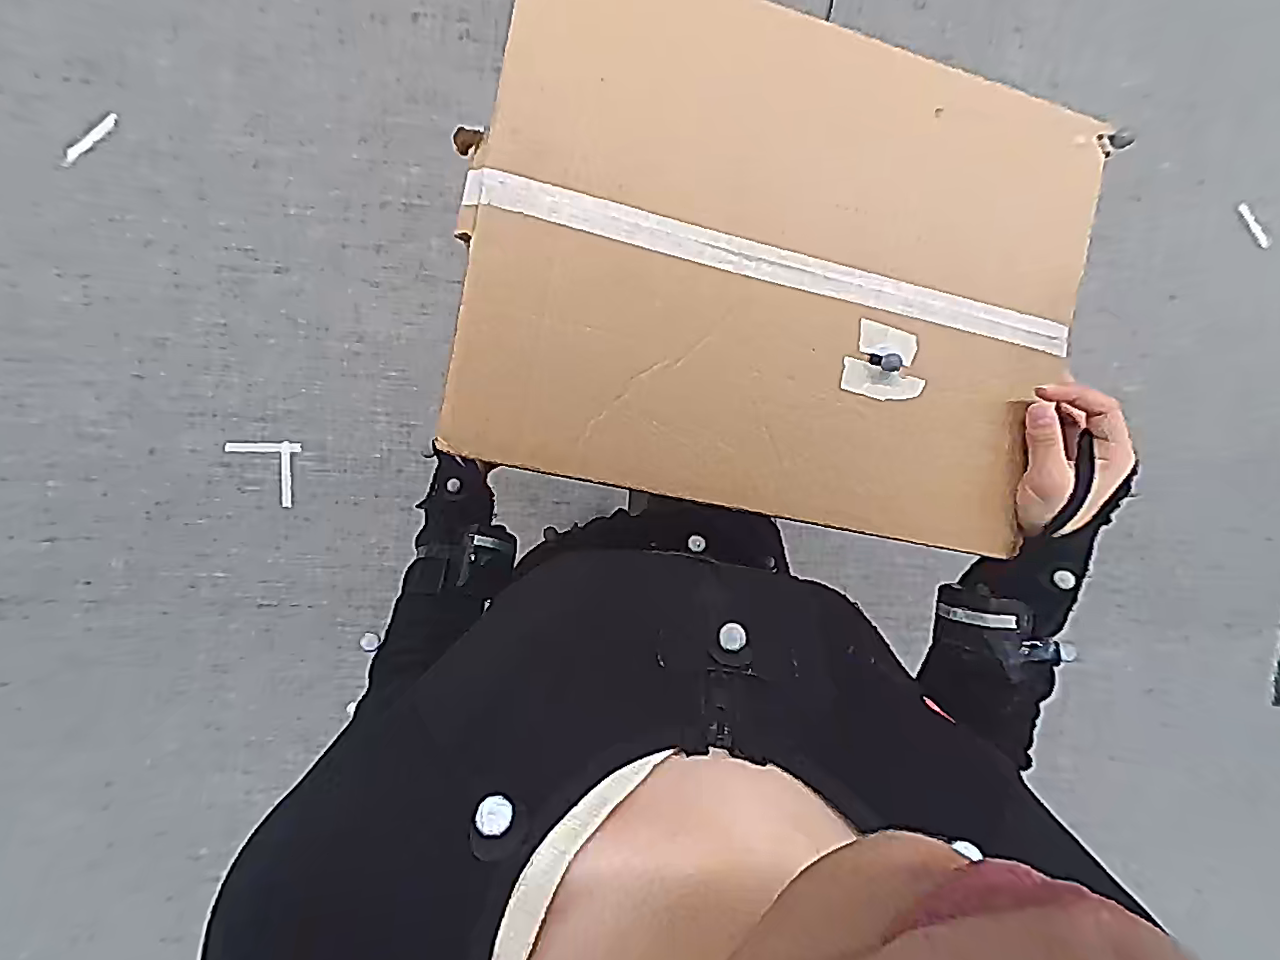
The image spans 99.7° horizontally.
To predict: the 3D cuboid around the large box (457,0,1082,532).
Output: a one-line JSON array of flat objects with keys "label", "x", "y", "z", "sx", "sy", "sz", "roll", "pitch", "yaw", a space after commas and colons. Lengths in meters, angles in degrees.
[{"label": "large box", "x": 0.076, "y": -0.150, "z": 0.503, "sx": 0.408, "sy": 0.320, "sz": 0.320, "roll": 11, "pitch": 92, "yaw": -11}]
